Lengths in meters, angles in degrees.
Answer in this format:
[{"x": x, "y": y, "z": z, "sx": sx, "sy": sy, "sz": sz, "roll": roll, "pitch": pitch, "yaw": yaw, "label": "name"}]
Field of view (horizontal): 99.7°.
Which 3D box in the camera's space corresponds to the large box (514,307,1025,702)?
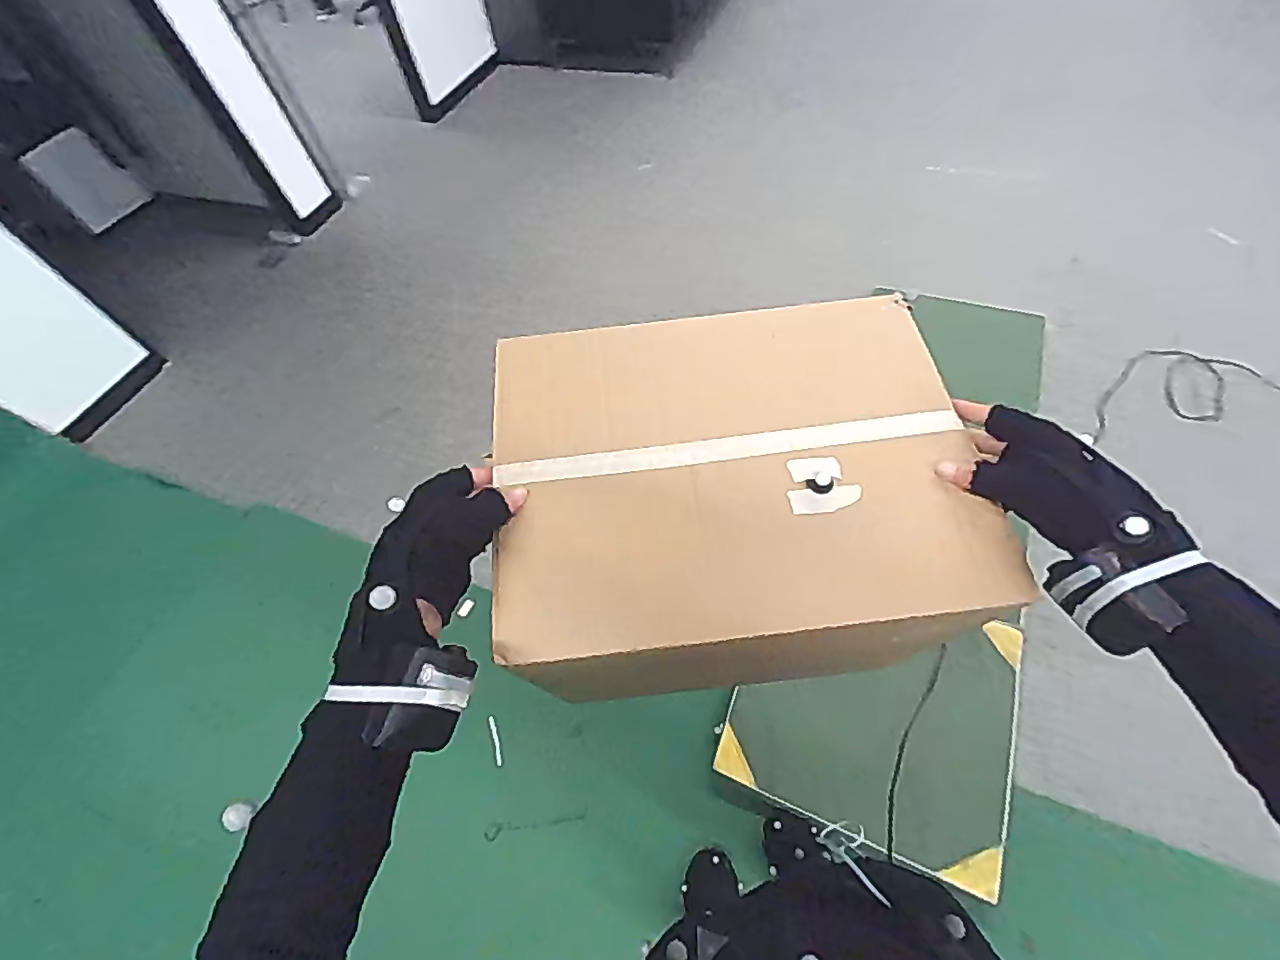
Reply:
[{"x": 0.090, "y": 0.048, "z": 0.612, "sx": 0.408, "sy": 0.320, "sz": 0.320, "roll": -6, "pitch": 63, "yaw": -1, "label": "large box"}]
